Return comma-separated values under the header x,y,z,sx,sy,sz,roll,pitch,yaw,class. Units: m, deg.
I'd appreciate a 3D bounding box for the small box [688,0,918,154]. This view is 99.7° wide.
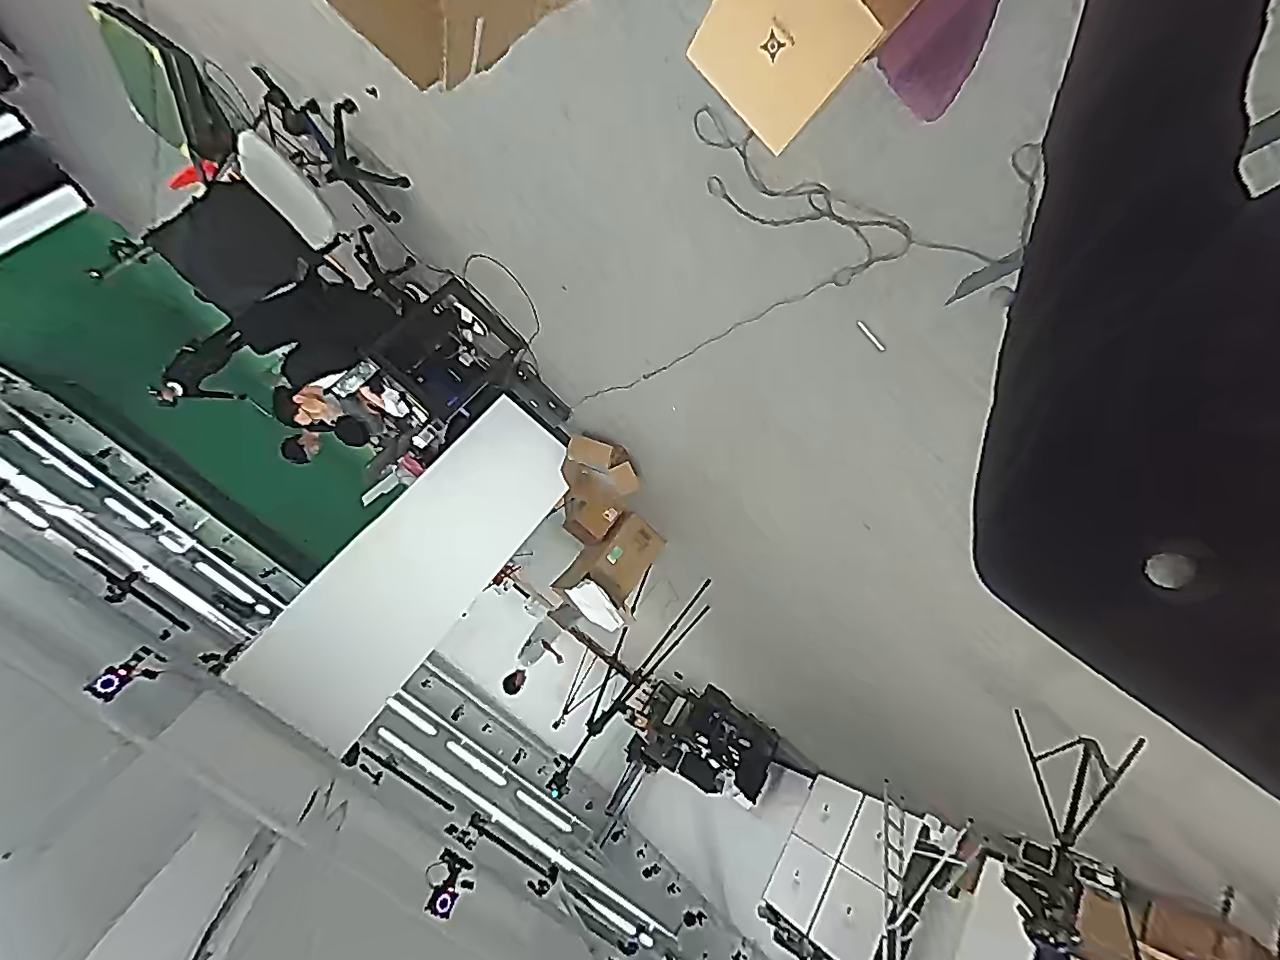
x,y,z,sx,sy,sz,roll,pitch,yaw,class
0.194,-0.536,0.623,0.168,0.176,0.179,42,155,-10,small box
